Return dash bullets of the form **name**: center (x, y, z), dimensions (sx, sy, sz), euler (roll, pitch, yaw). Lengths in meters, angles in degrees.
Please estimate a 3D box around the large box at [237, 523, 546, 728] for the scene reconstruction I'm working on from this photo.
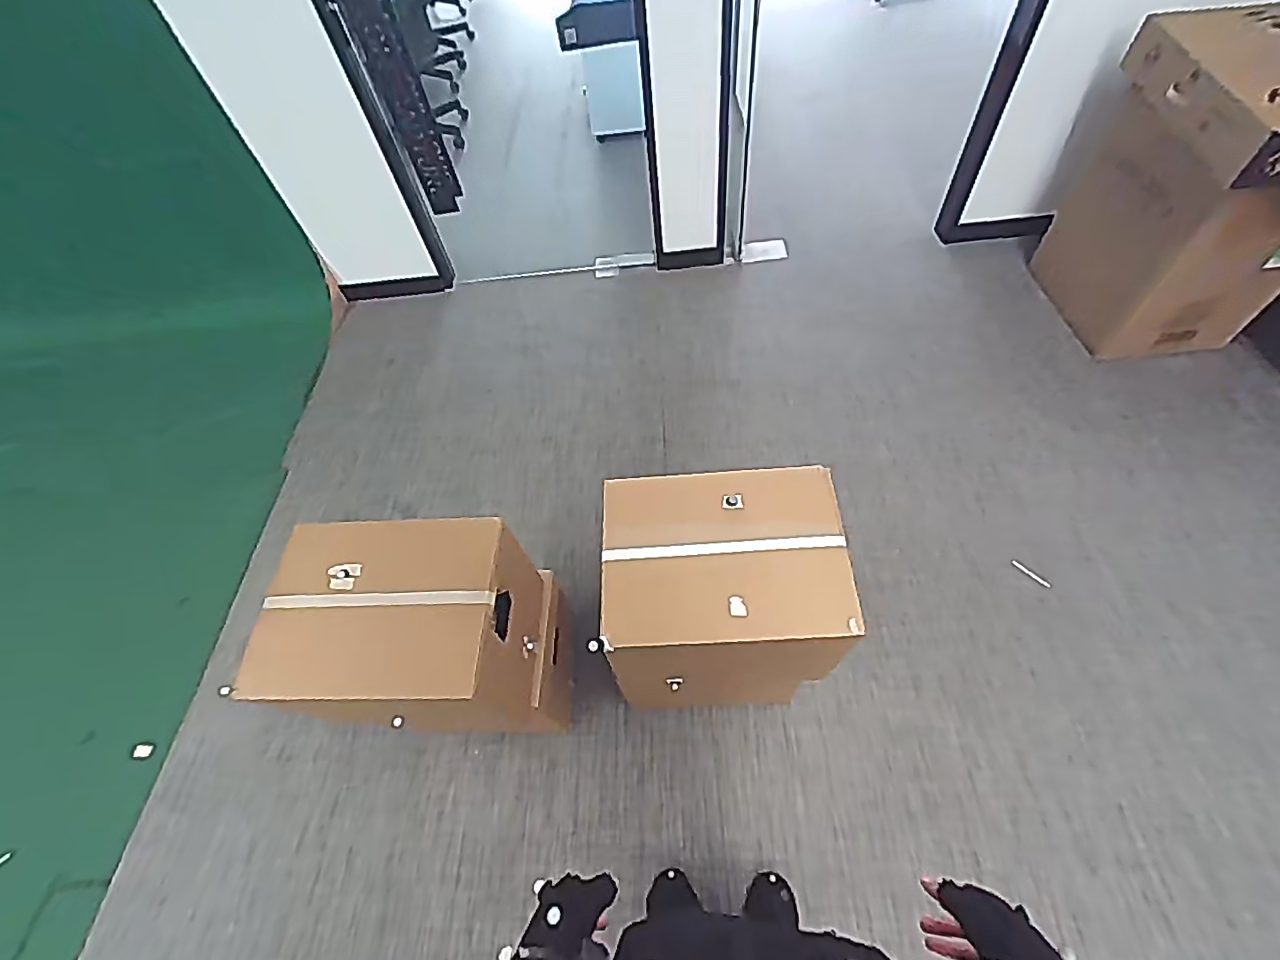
- **large box**: center (-0.424, 0.295, 1.039), dimensions (0.408, 0.320, 0.320), euler (-3, 58, 7)
